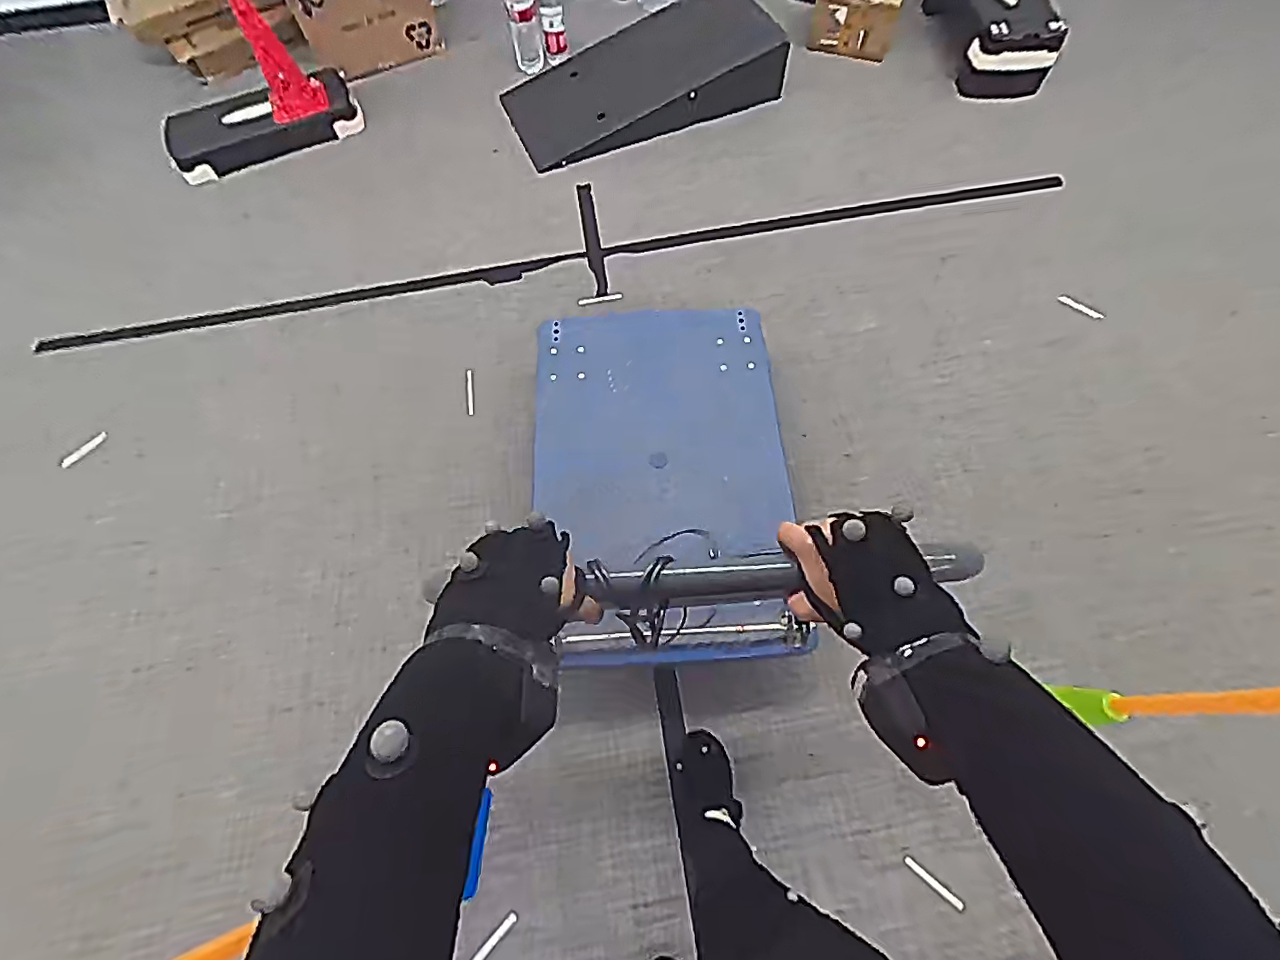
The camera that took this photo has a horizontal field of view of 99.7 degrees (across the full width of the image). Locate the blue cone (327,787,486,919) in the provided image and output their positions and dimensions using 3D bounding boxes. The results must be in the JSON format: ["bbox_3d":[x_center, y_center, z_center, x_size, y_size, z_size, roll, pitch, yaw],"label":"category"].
[{"bbox_3d":[-0.415,0.660,0.930,0.193,0.380,0.192,4,66,4],"label":"blue cone"}]
